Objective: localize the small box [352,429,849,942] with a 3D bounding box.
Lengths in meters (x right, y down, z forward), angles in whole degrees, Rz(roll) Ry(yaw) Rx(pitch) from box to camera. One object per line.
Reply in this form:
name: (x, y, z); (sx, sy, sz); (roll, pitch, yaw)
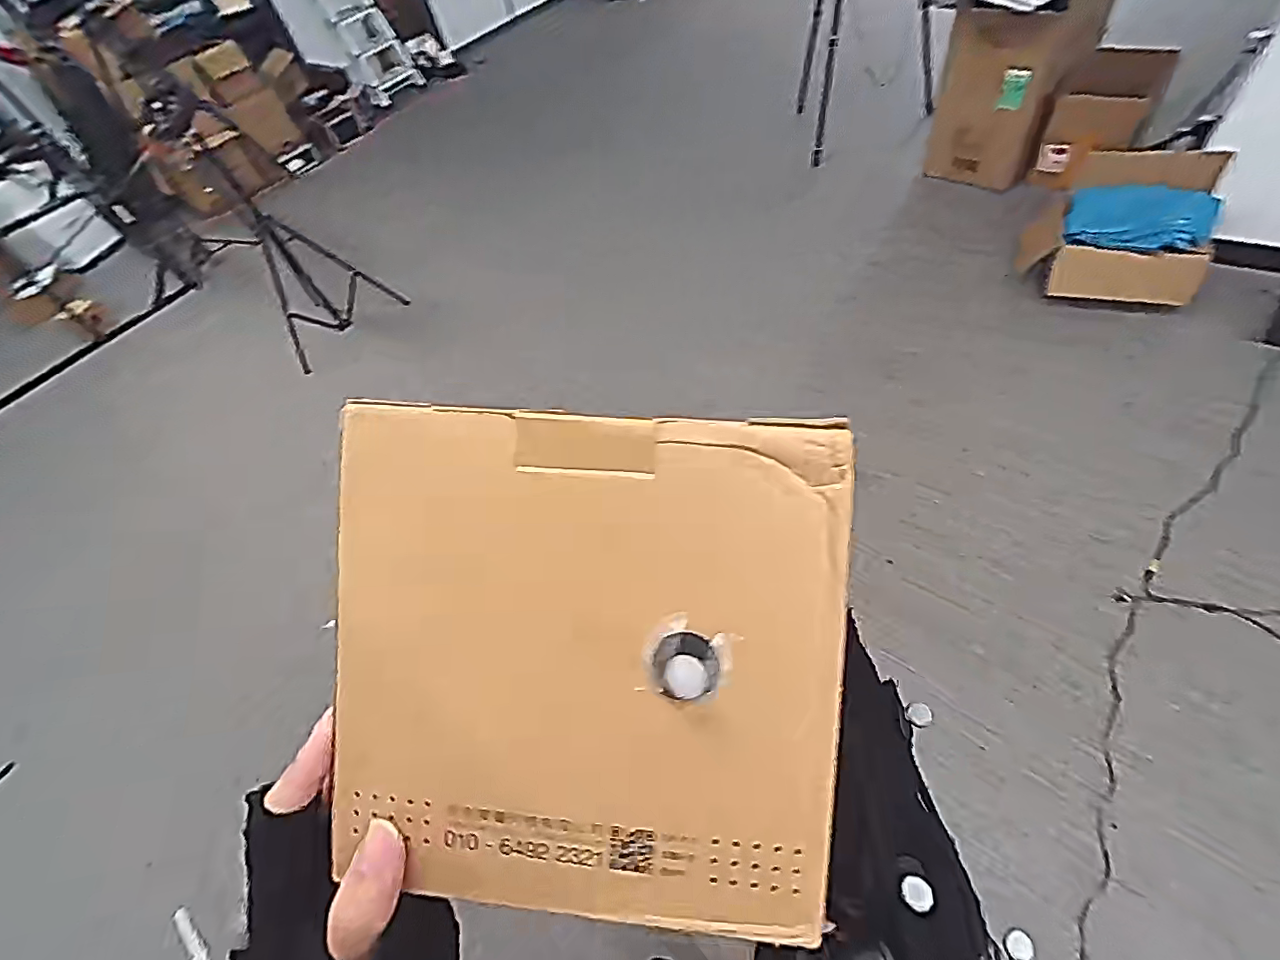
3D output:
small box: (-0.009, 0.065, 0.260); (0.168, 0.179, 0.176); (3, 93, 5)
